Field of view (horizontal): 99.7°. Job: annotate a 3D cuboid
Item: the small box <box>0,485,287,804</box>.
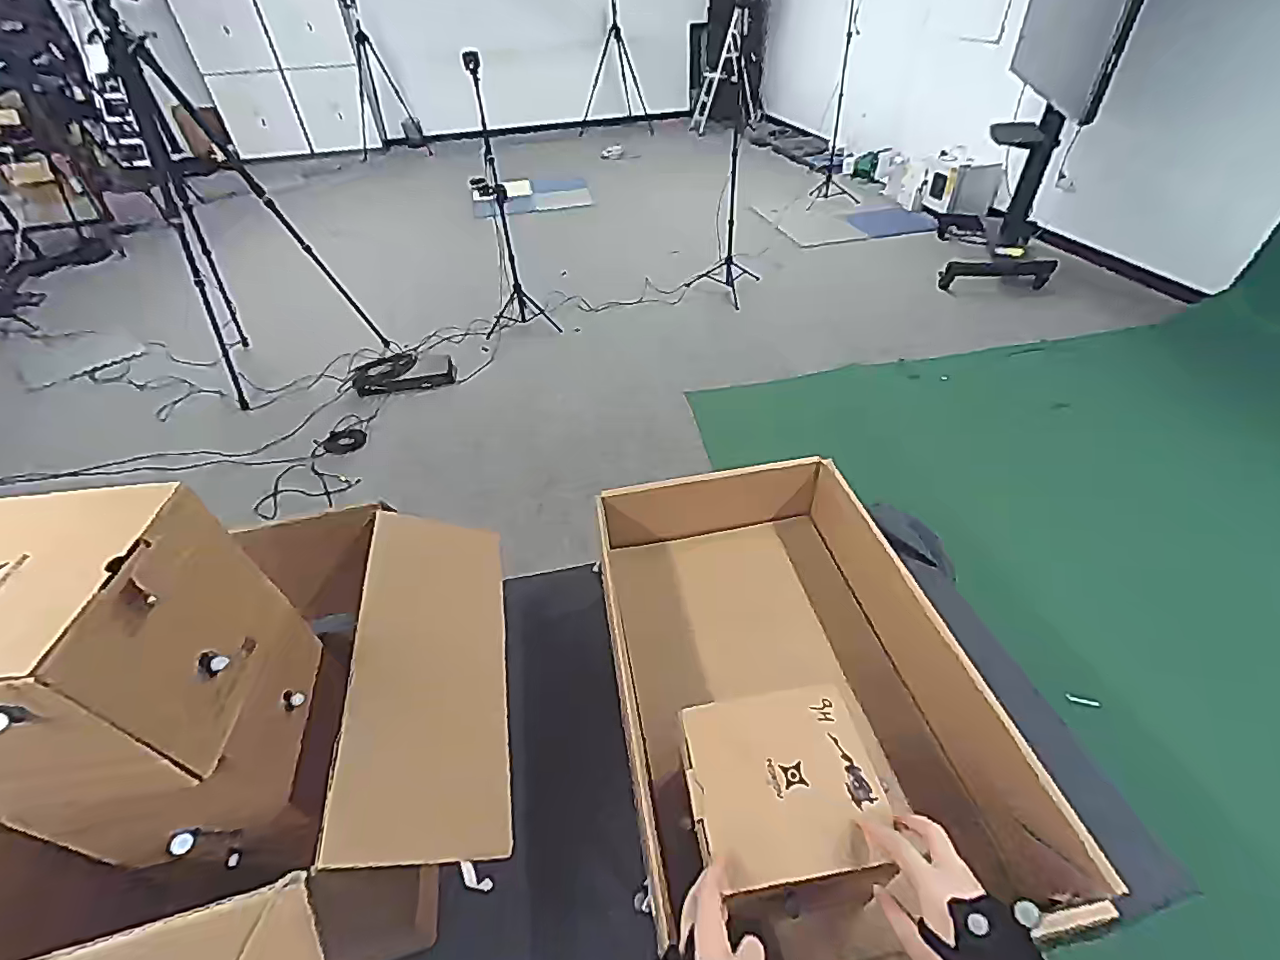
[{"bbox_3d":[-0.422,0.126,0.413,0.179,0.176,0.168,-6,43,-3],"label":"small box"}]
